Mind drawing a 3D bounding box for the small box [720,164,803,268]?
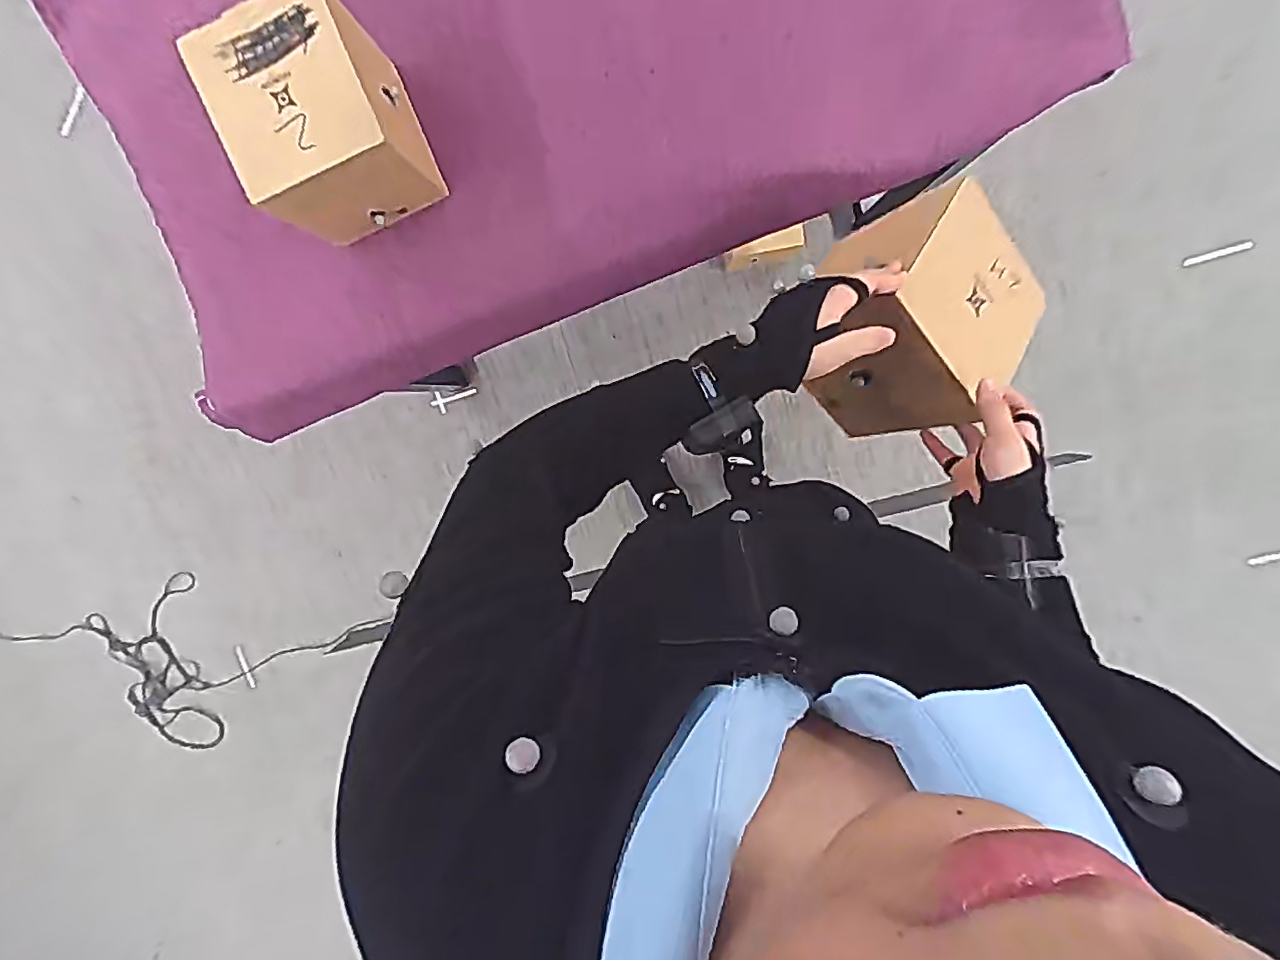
[{"bbox_3d":[0.287,-0.623,1.301,0.168,0.176,0.179,-8,98,6],"label":"small box"}]

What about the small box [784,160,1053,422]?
[{"bbox_3d":[0.283,-0.179,0.574,0.168,0.176,0.179,41,72,-21],"label":"small box"}]
